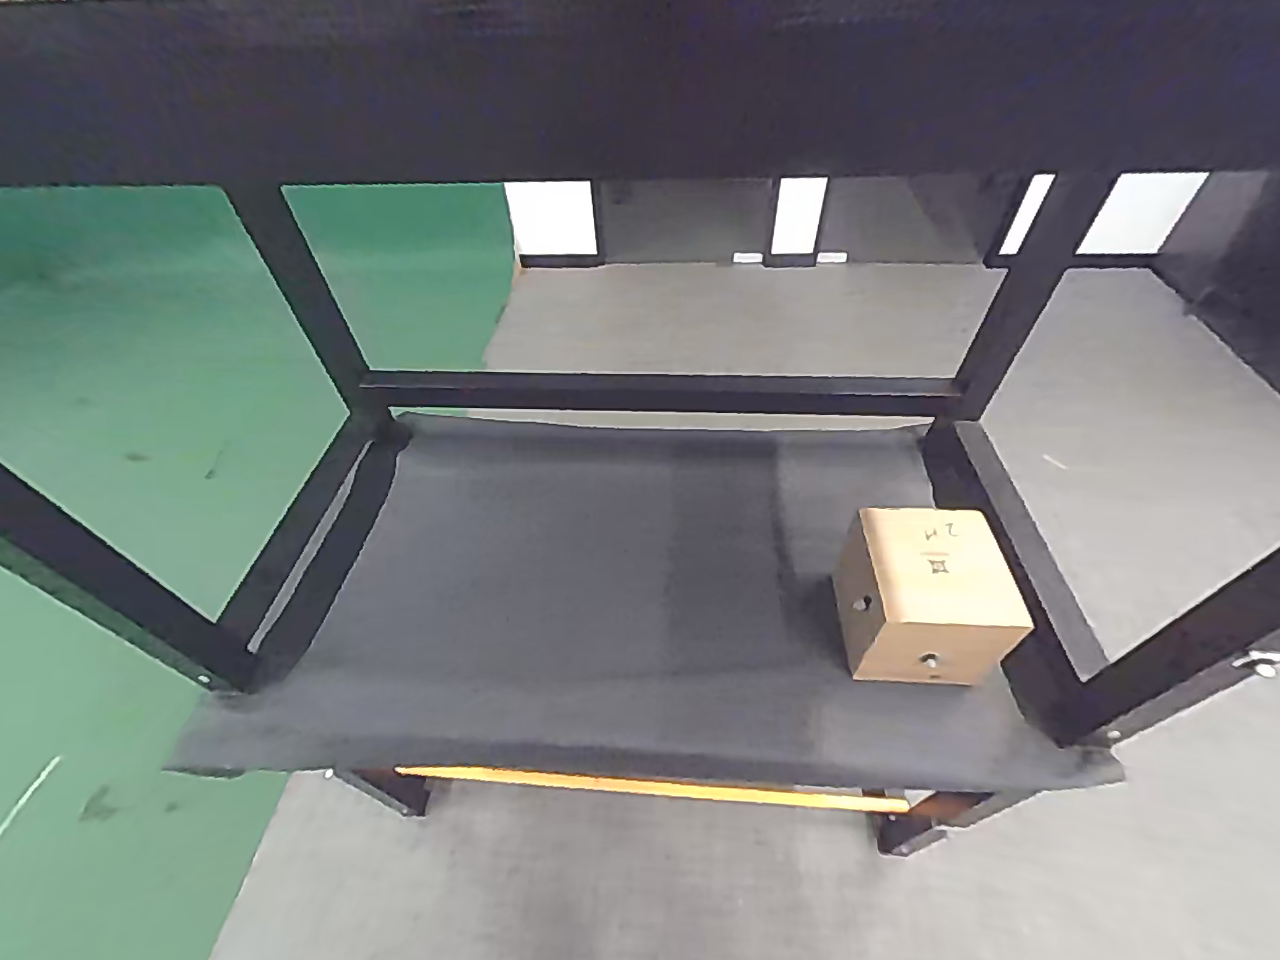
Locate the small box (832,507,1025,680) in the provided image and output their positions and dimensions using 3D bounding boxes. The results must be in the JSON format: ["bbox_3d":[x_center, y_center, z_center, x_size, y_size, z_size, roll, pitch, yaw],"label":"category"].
[{"bbox_3d":[0.376,0.158,0.743,0.168,0.176,0.179,2,47,4],"label":"small box"}]
